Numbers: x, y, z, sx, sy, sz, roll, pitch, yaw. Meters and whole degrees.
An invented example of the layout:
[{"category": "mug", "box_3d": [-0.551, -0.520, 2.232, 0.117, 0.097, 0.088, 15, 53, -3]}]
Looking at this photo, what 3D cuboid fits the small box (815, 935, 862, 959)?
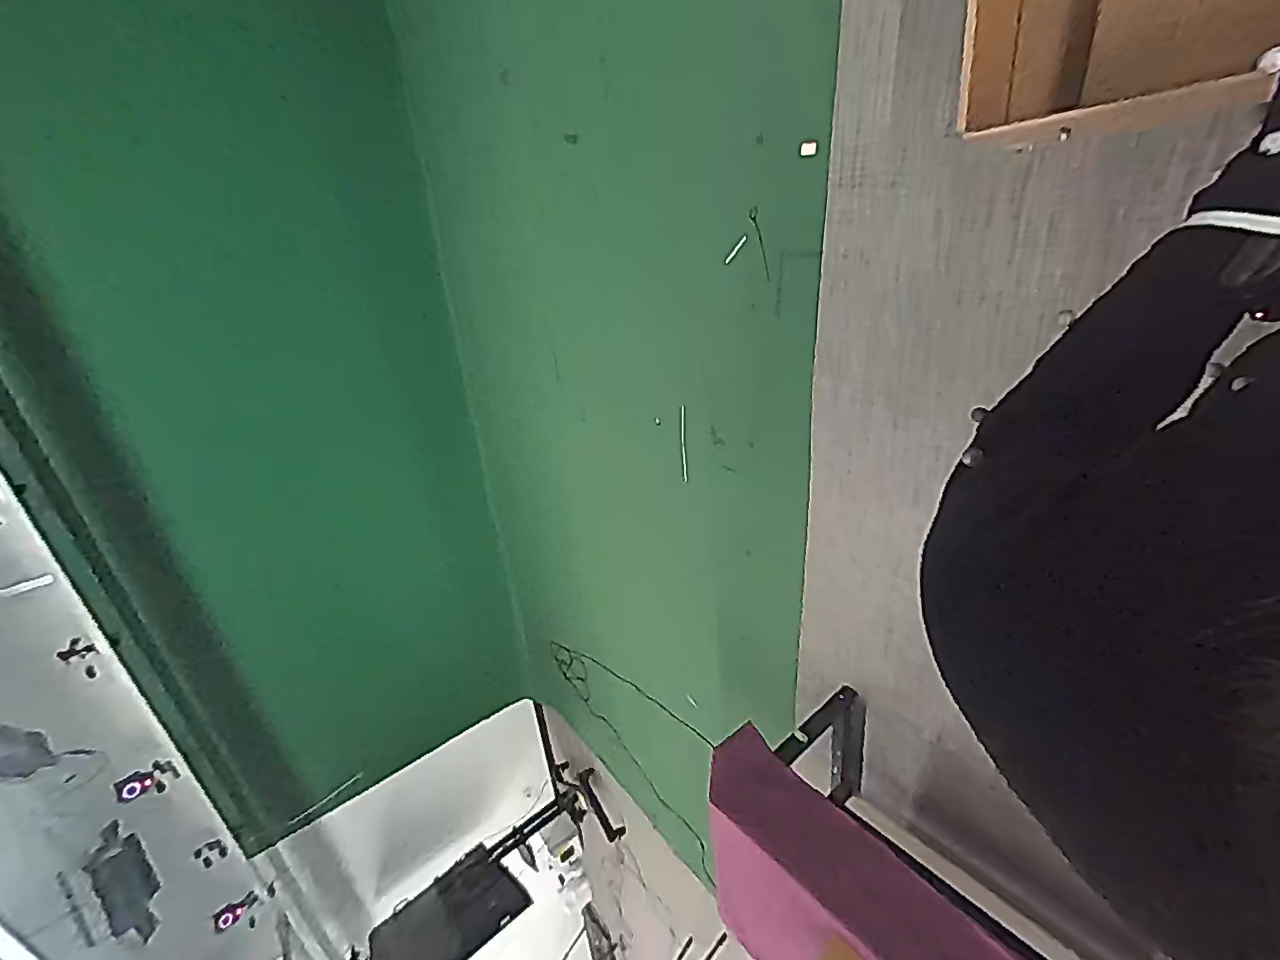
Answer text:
[{"category": "small box", "box_3d": [0.496, 1.277, 1.311, 0.179, 0.176, 0.168, 23, 127, 47]}]
